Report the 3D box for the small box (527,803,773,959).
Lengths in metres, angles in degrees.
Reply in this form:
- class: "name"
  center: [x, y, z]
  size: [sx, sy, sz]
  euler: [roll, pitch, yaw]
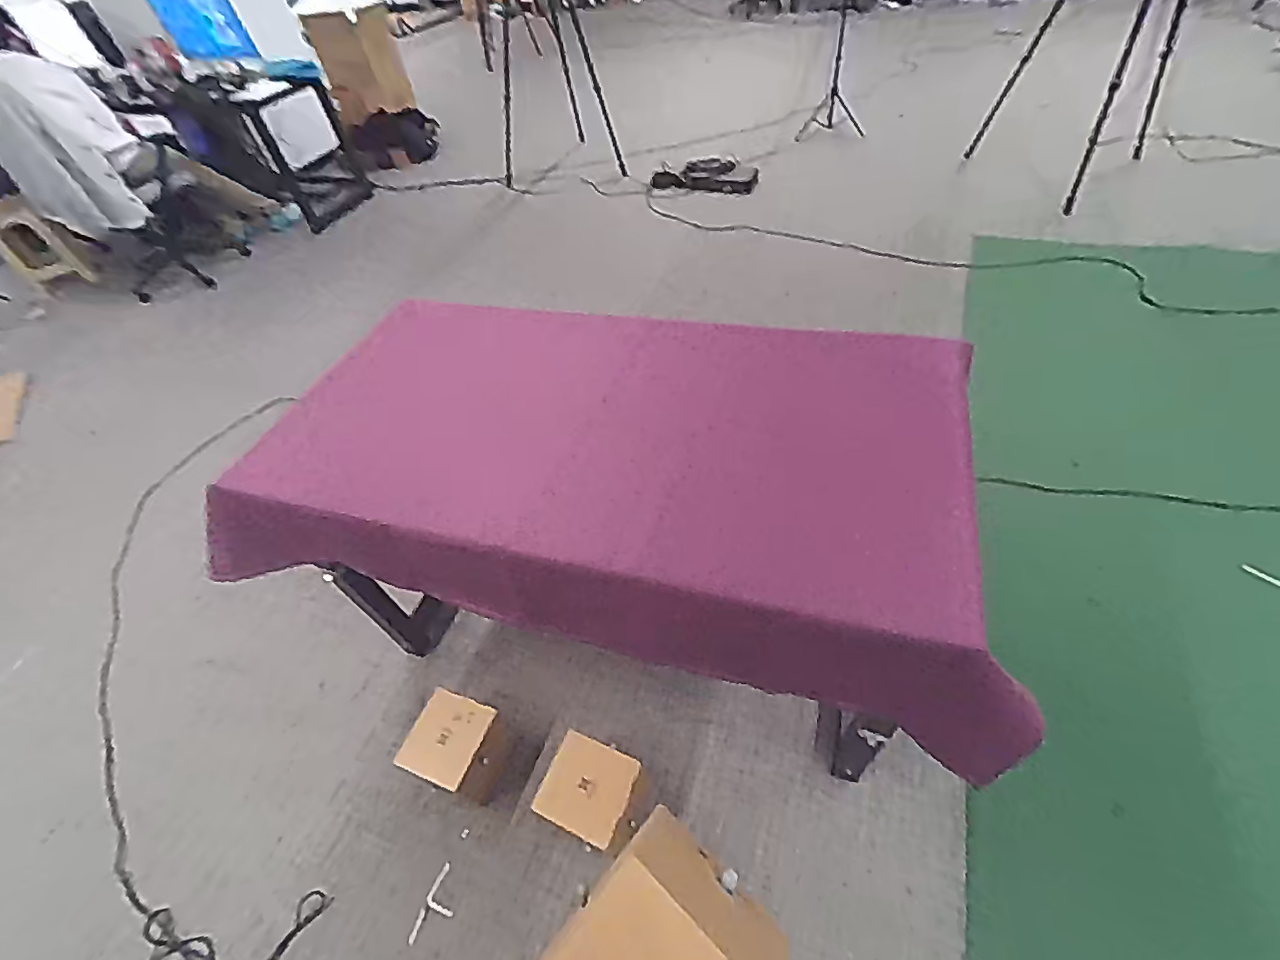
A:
- class: "small box"
  center: [0.008, 0.434, 0.482]
  size: [0.168, 0.176, 0.179]
  euler: [38, 82, 20]
